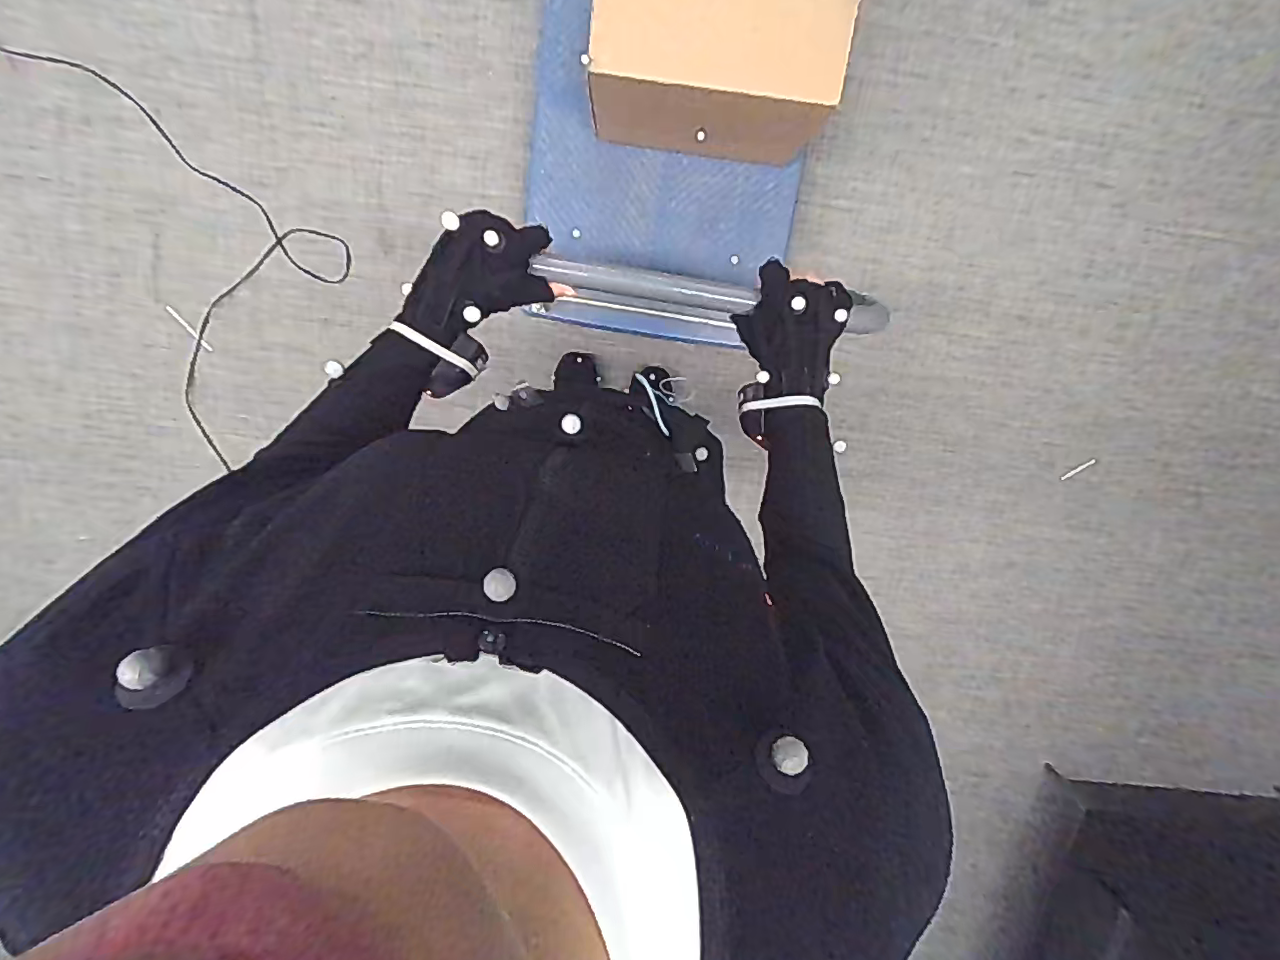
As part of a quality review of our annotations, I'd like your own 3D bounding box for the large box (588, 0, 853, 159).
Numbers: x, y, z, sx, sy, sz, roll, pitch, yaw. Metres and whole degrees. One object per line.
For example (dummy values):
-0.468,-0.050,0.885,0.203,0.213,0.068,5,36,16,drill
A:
0.132,-0.800,0.957,0.408,0.320,0.320,7,104,-2,large box
